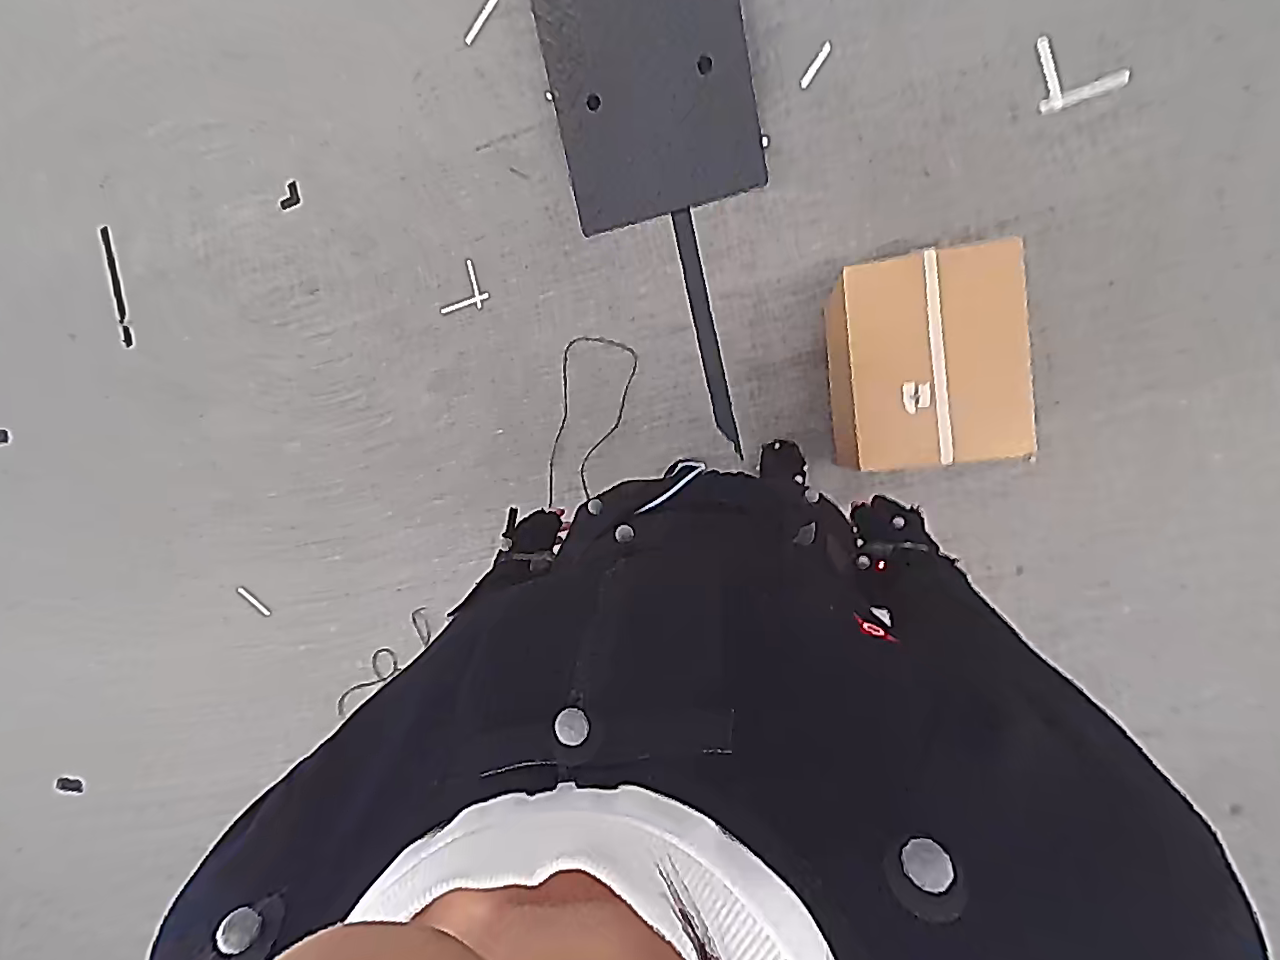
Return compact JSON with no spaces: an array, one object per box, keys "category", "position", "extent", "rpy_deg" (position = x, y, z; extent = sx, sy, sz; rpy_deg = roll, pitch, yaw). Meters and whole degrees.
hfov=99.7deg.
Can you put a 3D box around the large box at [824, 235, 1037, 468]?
[{"category":"large box","position":[0.597,-0.250,1.172],"extent":[0.320,0.320,0.408],"rpy_deg":[-6,94,13]}]

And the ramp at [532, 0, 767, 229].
[{"category":"ramp","position":[-0.022,-1.186,1.295],"extent":[0.509,0.206,0.991],"rpy_deg":[-12,92,12]}]
